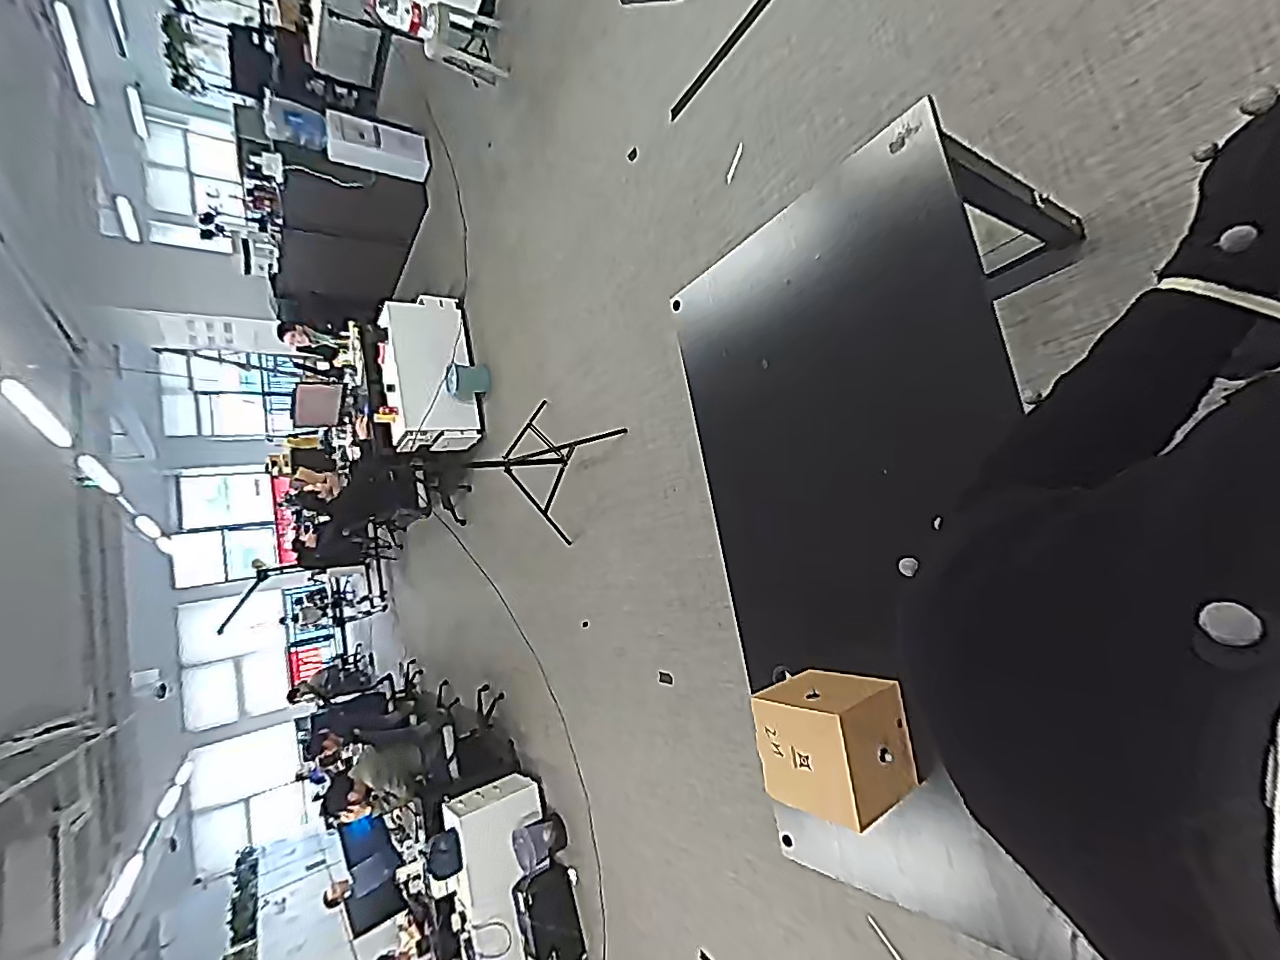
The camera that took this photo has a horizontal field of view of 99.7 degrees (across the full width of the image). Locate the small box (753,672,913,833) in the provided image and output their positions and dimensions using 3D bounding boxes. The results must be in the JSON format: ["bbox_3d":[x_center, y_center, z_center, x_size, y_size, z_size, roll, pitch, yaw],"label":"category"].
[{"bbox_3d":[0.314,0.420,0.872,0.179,0.176,0.168,-17,80,54],"label":"small box"}]
